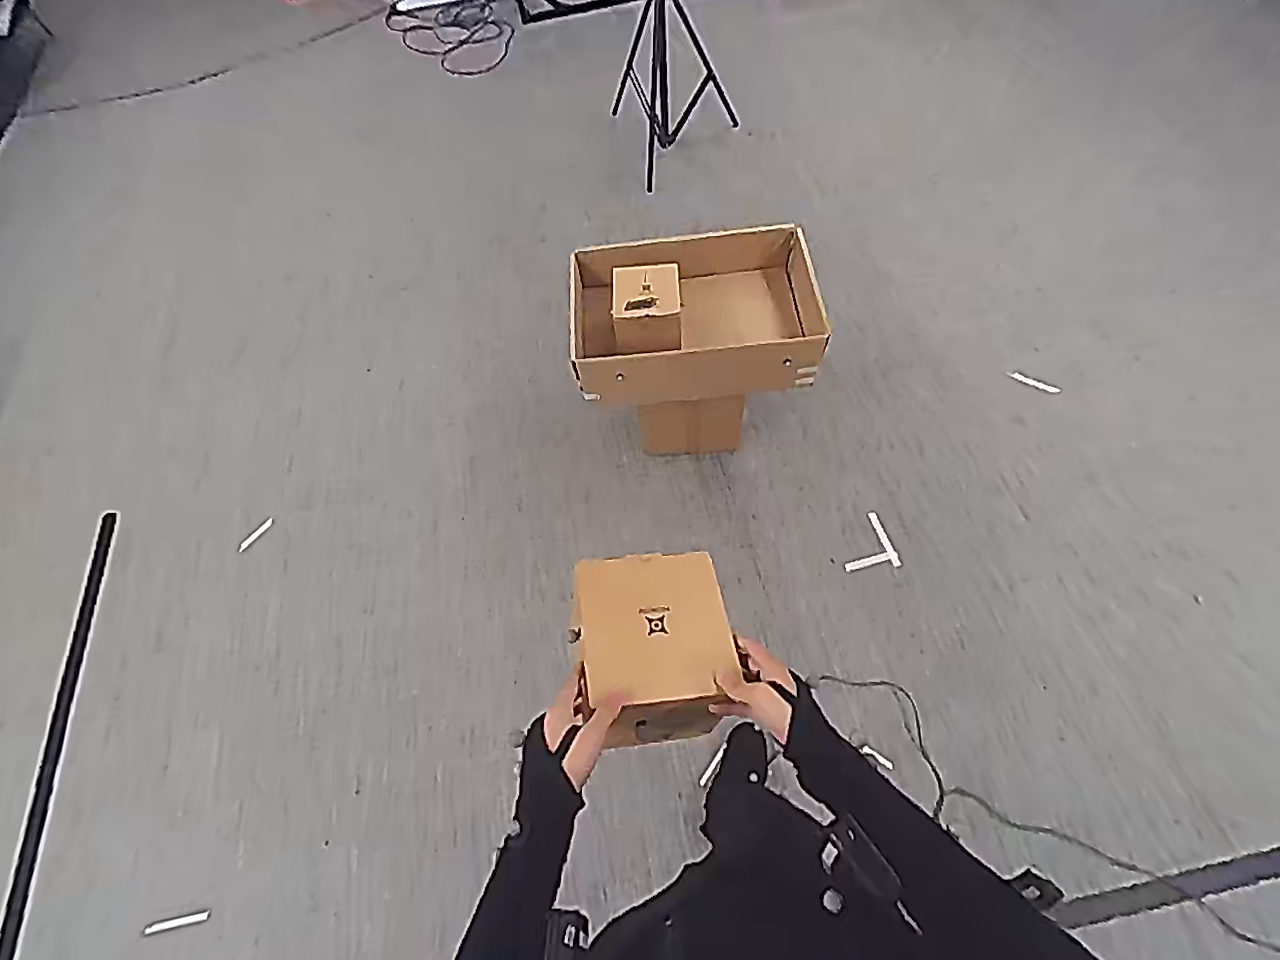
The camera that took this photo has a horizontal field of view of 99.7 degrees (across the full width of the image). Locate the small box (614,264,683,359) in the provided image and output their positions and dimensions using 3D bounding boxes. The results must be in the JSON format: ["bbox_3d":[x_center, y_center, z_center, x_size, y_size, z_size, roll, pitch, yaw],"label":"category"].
[{"bbox_3d":[0.026,-0.426,1.396,0.168,0.176,0.179,-3,62,4],"label":"small box"}]

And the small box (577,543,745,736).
[{"bbox_3d":[0.011,0.198,0.660,0.168,0.176,0.179,-2,50,-11],"label":"small box"}]
